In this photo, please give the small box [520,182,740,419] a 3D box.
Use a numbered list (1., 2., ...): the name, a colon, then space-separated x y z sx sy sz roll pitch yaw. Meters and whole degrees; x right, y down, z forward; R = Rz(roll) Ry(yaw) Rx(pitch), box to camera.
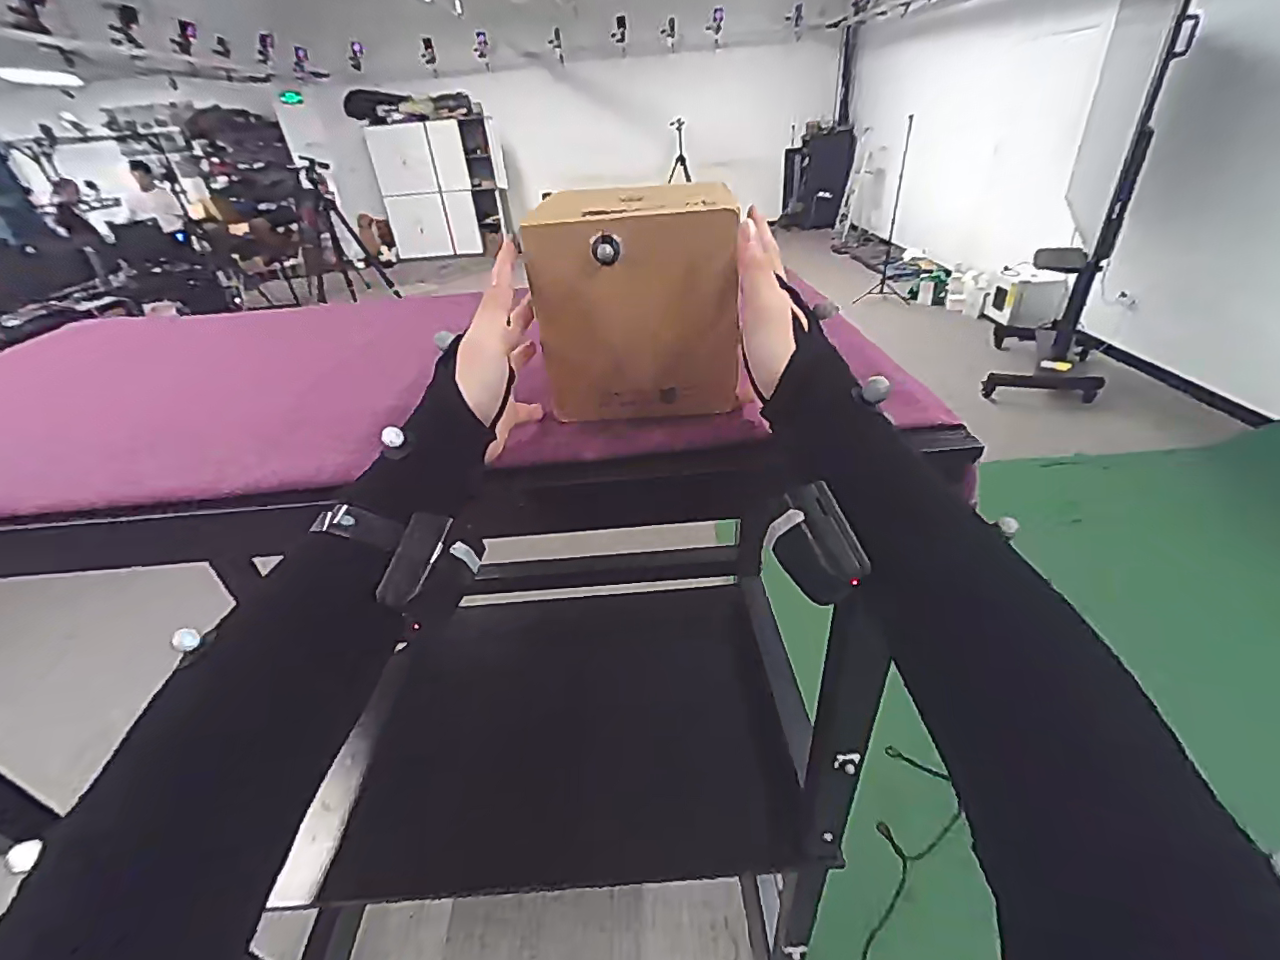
1. small box: 0.001 -0.171 0.507 0.168 0.176 0.179 -3 34 5
